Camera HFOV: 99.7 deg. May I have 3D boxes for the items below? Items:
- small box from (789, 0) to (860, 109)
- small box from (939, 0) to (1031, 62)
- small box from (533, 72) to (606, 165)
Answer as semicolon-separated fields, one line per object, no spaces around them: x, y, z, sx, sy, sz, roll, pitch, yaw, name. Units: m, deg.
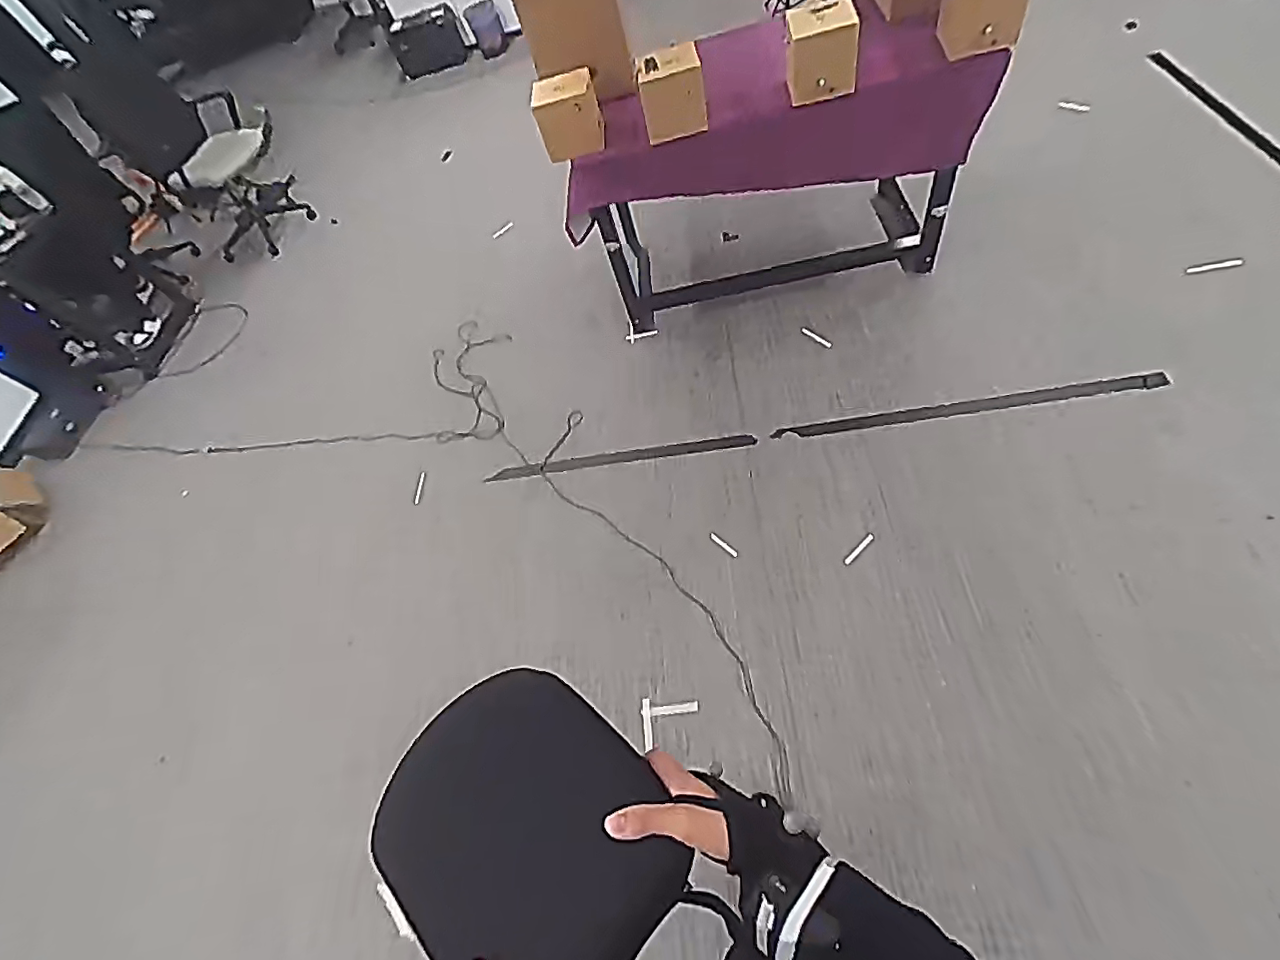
0.503;-1.172;1.496;0.168;0.176;0.179;-6;58;13;small box
0.905;-1.246;1.422;0.168;0.176;0.179;-4;58;15;small box
-0.212;-1.103;1.661;0.179;0.176;0.168;-9;57;9;small box
